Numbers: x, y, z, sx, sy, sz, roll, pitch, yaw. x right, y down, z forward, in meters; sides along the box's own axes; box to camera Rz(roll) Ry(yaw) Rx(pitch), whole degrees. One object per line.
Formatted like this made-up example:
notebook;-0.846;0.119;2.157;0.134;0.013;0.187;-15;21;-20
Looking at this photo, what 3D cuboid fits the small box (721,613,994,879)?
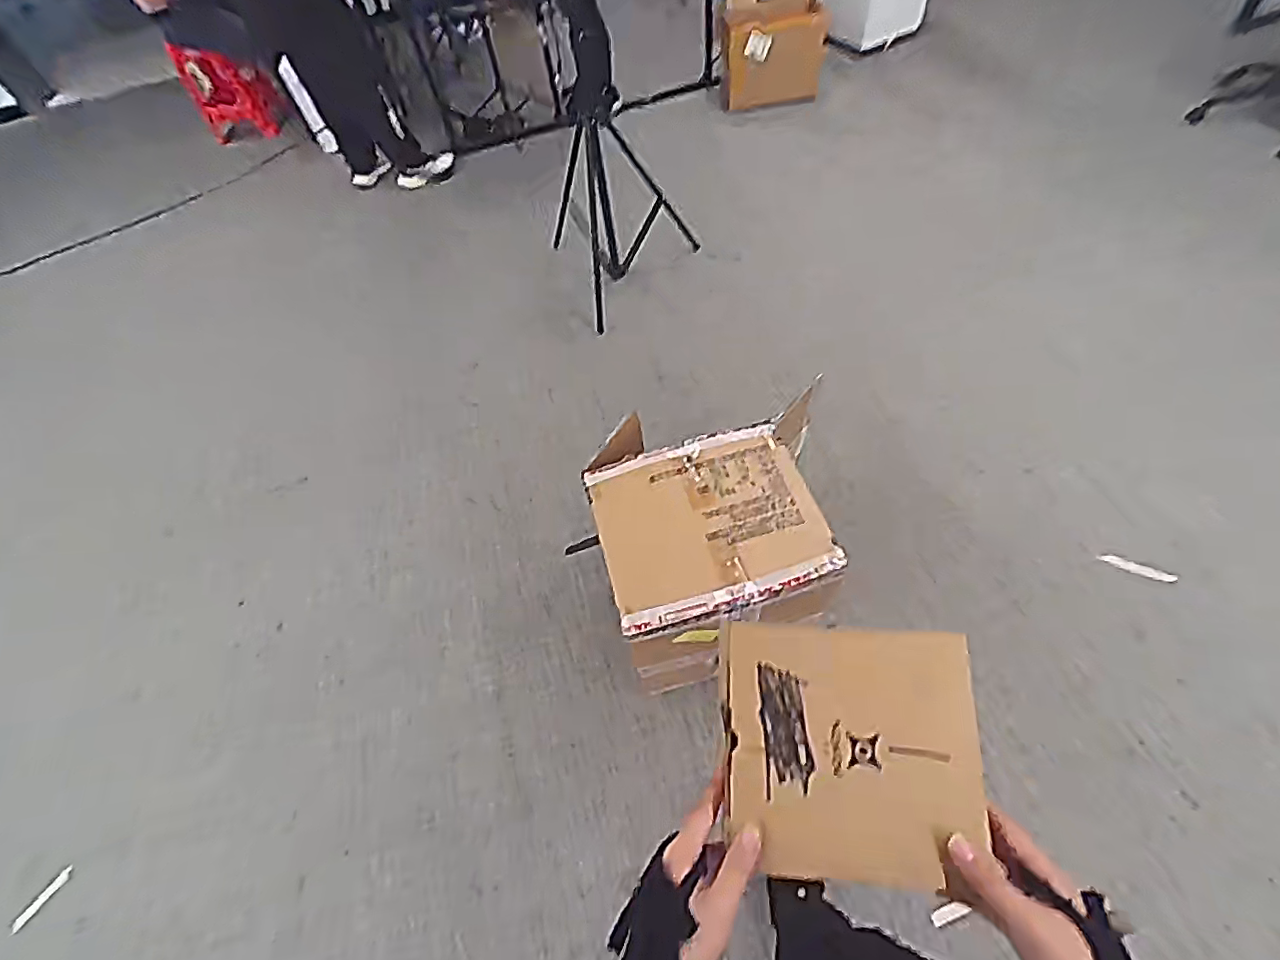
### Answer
small box;0.160;0.208;0.465;0.179;0.176;0.168;1;73;6
